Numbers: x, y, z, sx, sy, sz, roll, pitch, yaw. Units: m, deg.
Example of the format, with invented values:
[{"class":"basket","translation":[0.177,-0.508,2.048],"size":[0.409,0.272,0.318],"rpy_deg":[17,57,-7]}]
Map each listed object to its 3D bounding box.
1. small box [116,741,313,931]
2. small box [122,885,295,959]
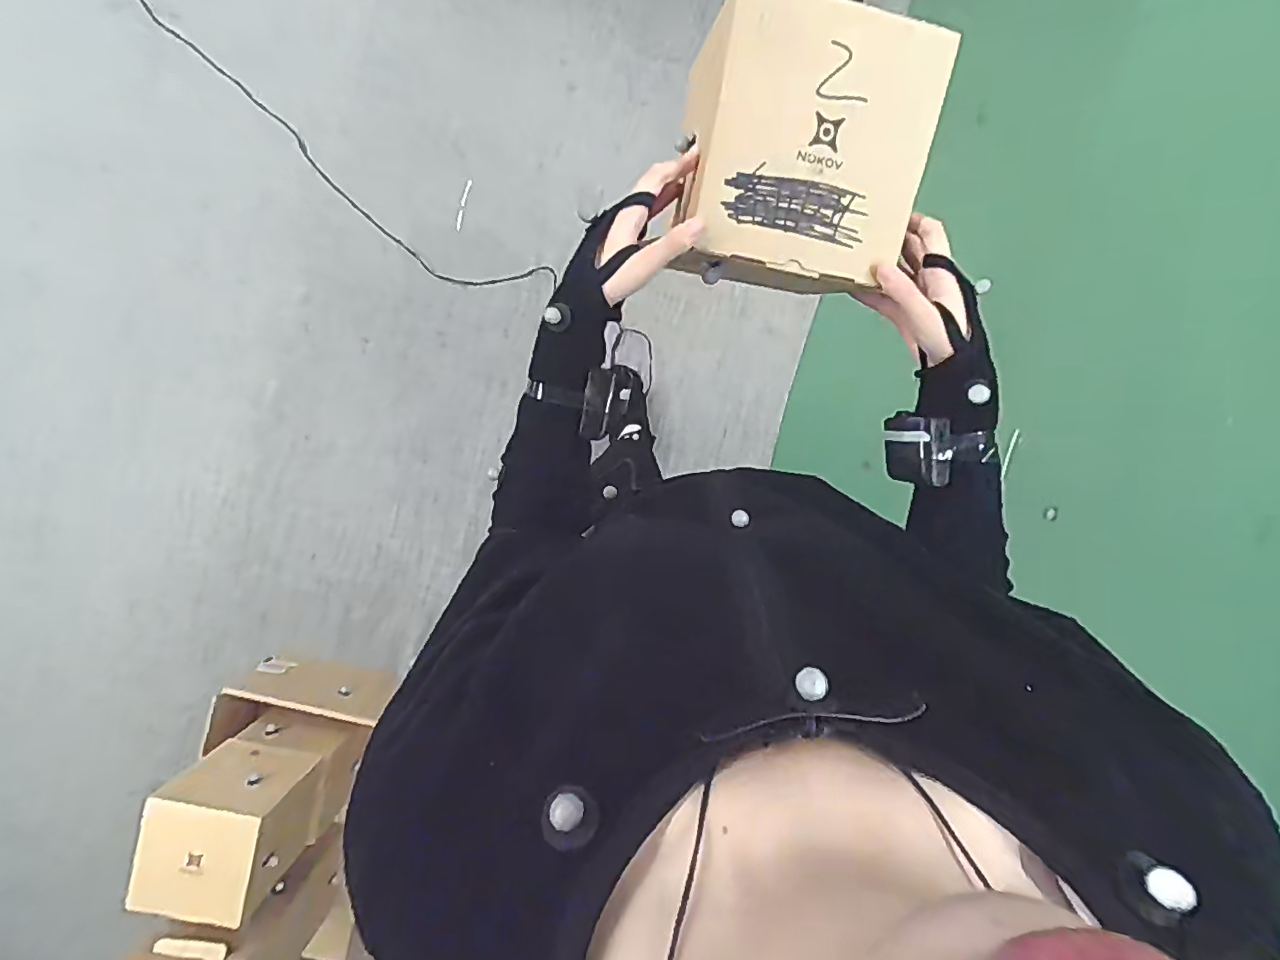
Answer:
[{"class":"small box","translation":[-0.649,0.543,0.850],"size":[0.168,0.176,0.179],"rpy_deg":[13,93,-3]},{"class":"small box","translation":[-0.685,0.777,0.860],"size":[0.168,0.176,0.179],"rpy_deg":[10,90,-3]}]
